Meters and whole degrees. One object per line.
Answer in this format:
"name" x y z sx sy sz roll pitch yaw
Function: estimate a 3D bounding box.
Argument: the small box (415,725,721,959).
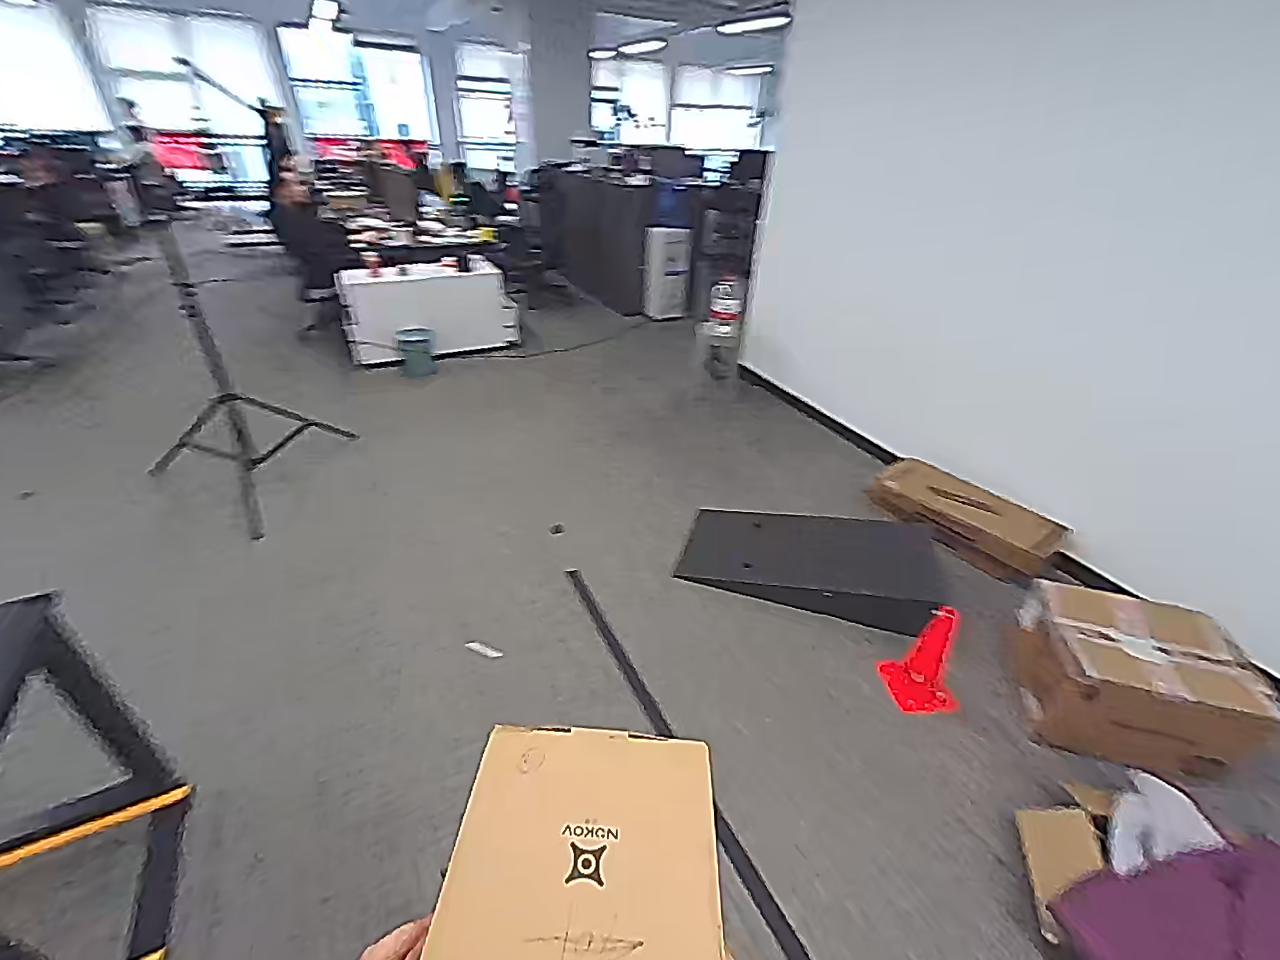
"small box" -0.042 0.302 0.370 0.168 0.176 0.179 4 30 -1
